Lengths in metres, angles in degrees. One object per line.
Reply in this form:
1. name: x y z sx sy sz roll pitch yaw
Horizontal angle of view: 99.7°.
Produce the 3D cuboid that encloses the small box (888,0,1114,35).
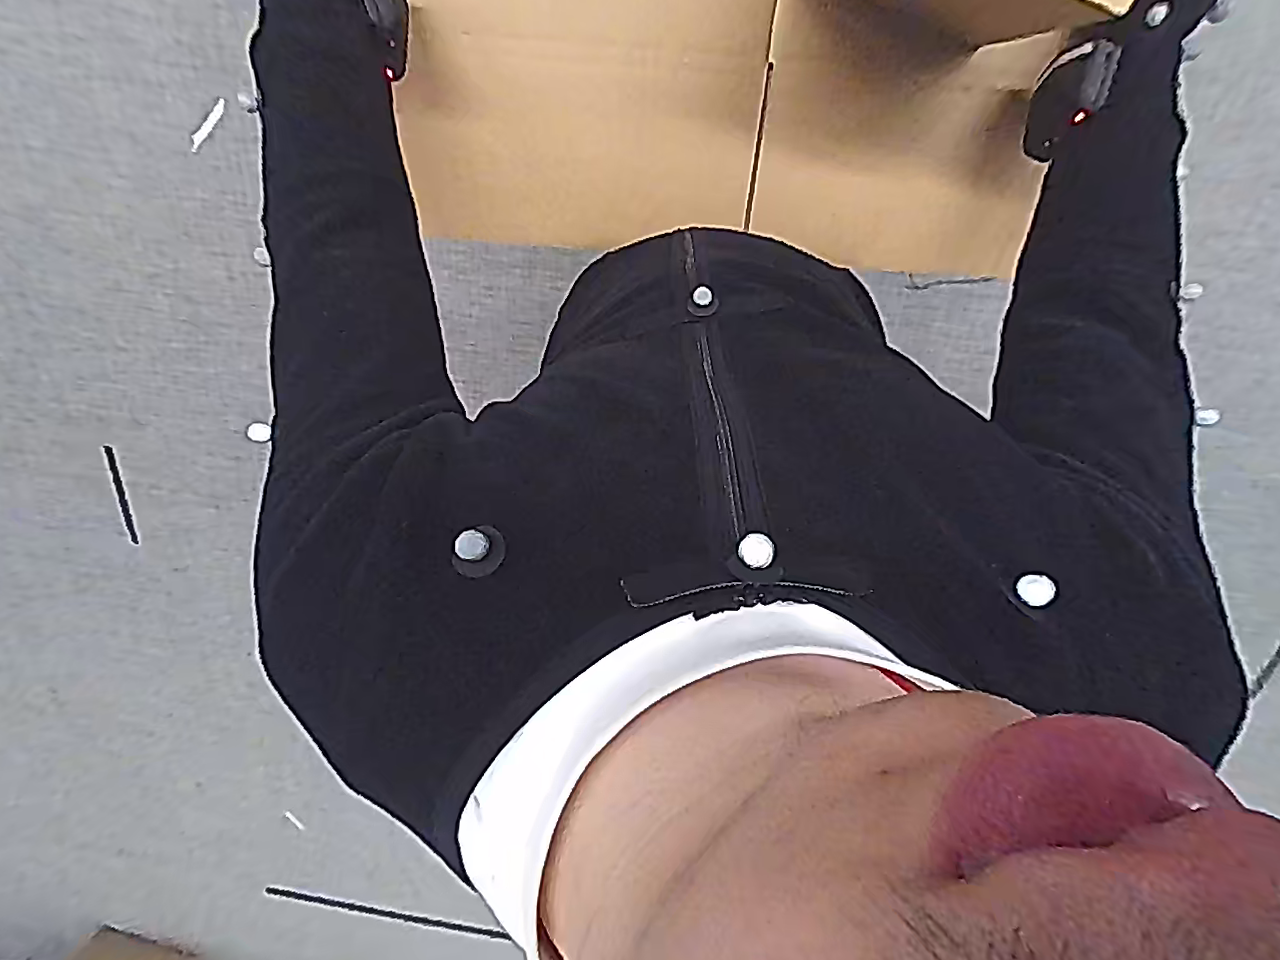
1. small box: 0.222 -0.404 0.327 0.179 0.176 0.168 16 123 -7
